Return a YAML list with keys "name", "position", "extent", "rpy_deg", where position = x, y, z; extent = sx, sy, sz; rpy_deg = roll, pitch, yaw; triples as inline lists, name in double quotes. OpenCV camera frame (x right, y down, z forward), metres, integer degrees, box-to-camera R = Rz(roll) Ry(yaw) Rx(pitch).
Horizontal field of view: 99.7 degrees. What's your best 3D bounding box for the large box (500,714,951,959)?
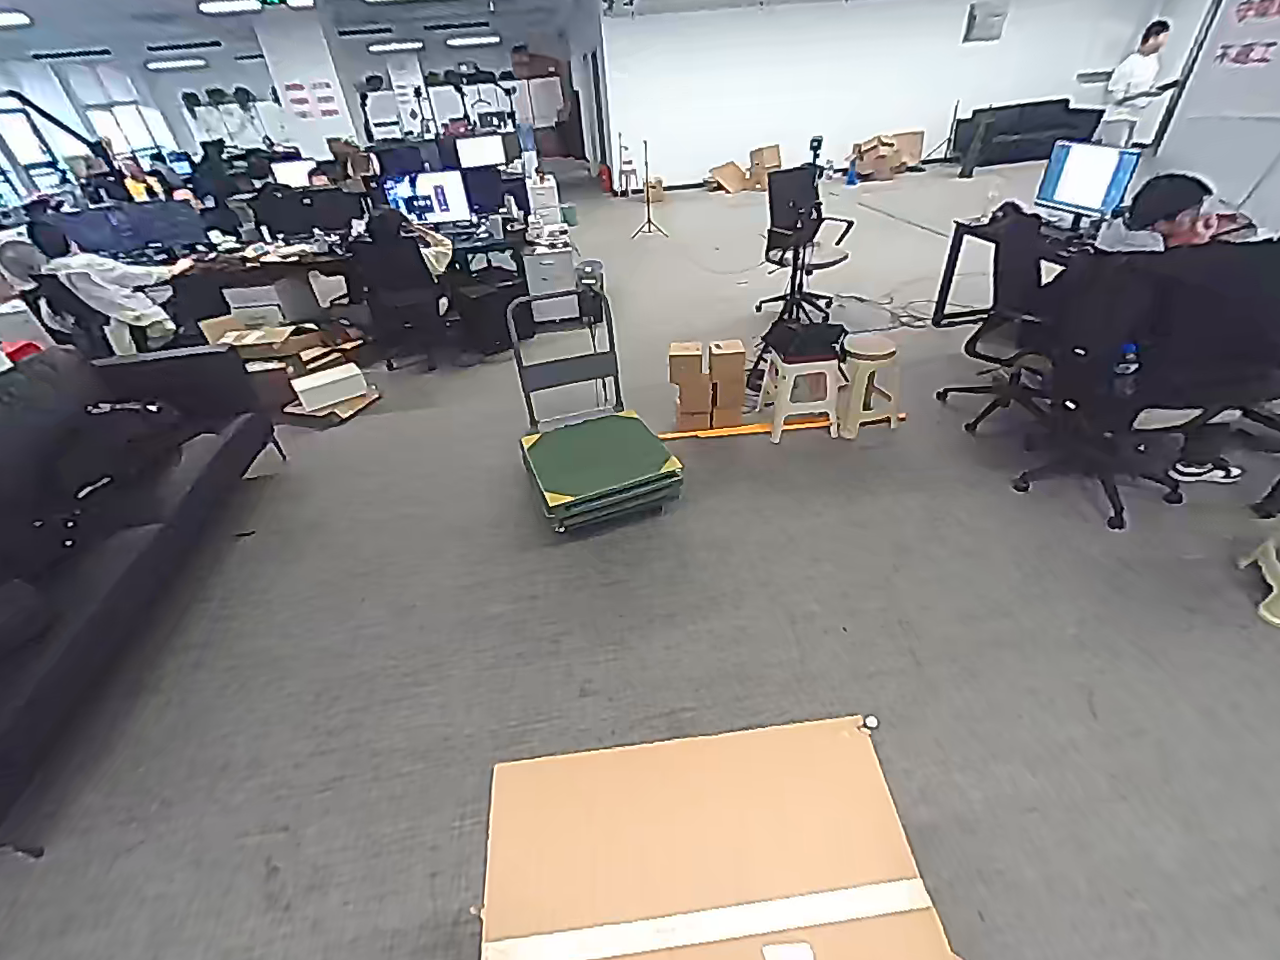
- name: "large box"
  position: [0.075, 0.499, 0.609]
  extent: [0.408, 0.320, 0.320]
  rpy_deg: [-7, 51, -2]
